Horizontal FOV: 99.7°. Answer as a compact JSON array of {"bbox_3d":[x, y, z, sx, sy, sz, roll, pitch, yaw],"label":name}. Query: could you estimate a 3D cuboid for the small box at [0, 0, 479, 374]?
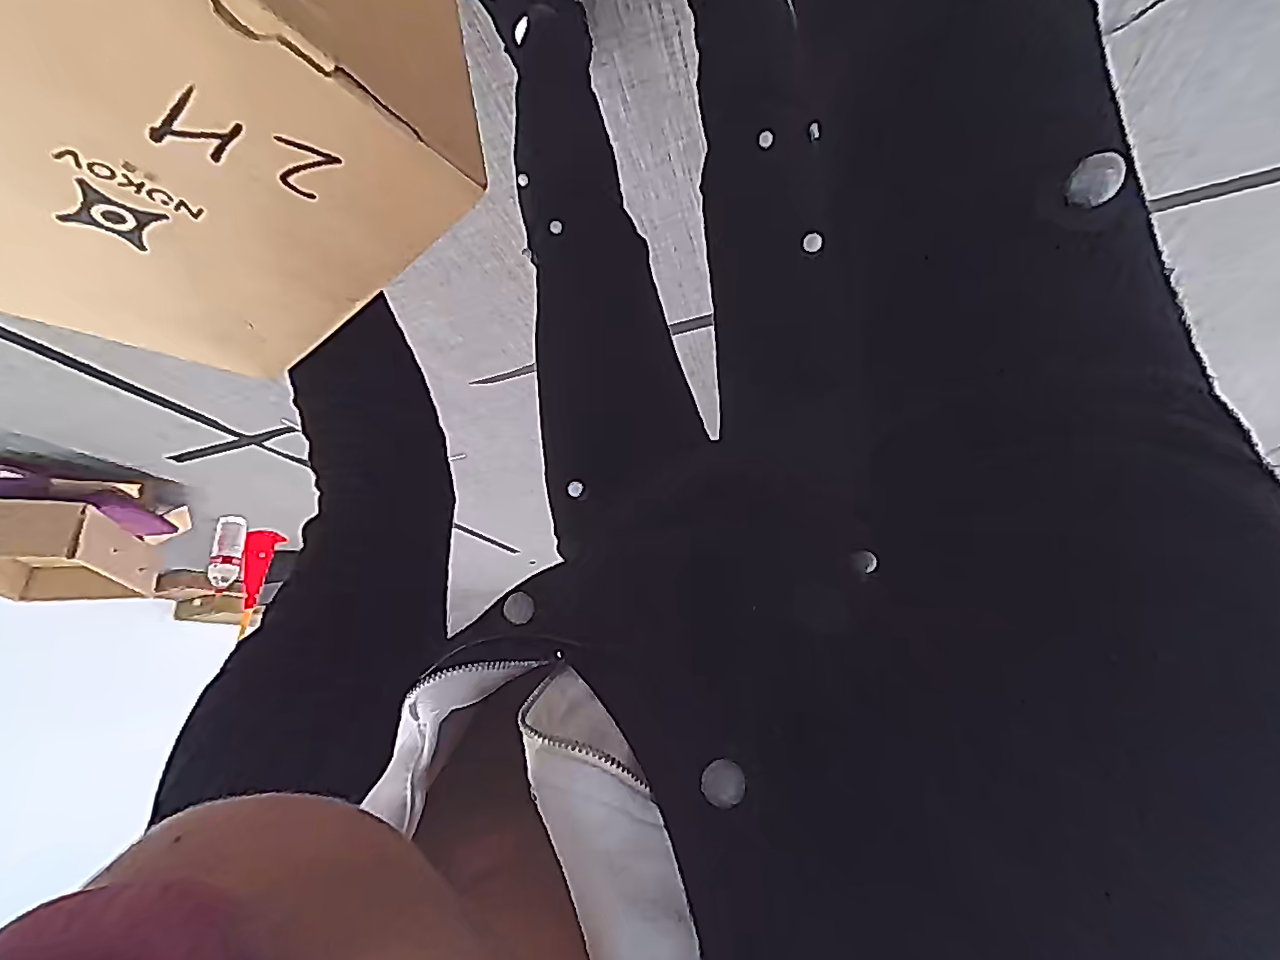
[{"bbox_3d":[-0.190,-0.172,0.209,0.179,0.176,0.168,-23,161,28],"label":"small box"}]
